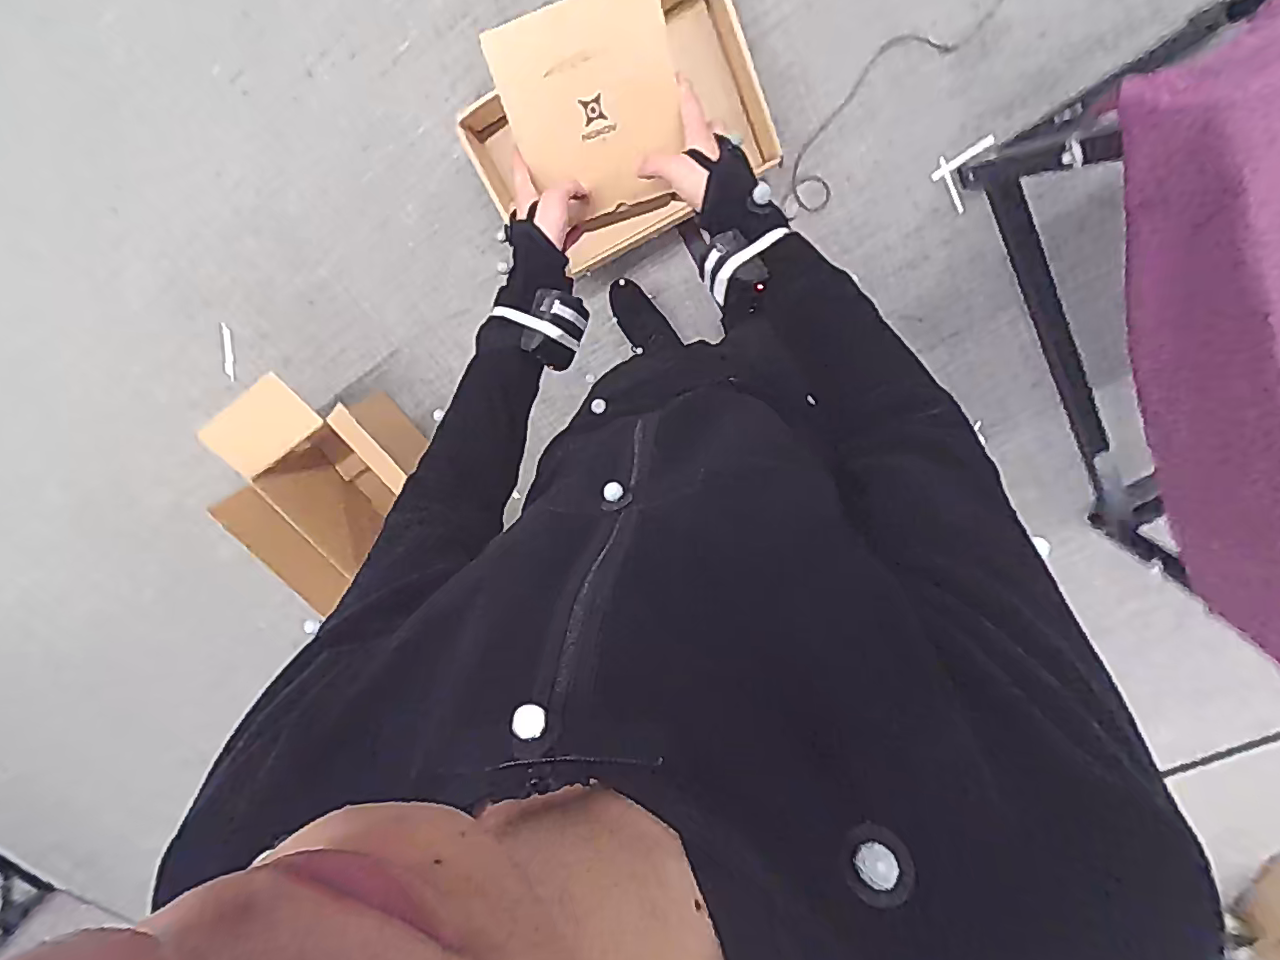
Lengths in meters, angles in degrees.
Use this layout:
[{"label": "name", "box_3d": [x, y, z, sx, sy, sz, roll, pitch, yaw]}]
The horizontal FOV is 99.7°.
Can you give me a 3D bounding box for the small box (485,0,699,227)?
[{"label": "small box", "box_3d": [-0.035, -0.400, 0.578, 0.168, 0.176, 0.179, -12, 124, 11]}]
